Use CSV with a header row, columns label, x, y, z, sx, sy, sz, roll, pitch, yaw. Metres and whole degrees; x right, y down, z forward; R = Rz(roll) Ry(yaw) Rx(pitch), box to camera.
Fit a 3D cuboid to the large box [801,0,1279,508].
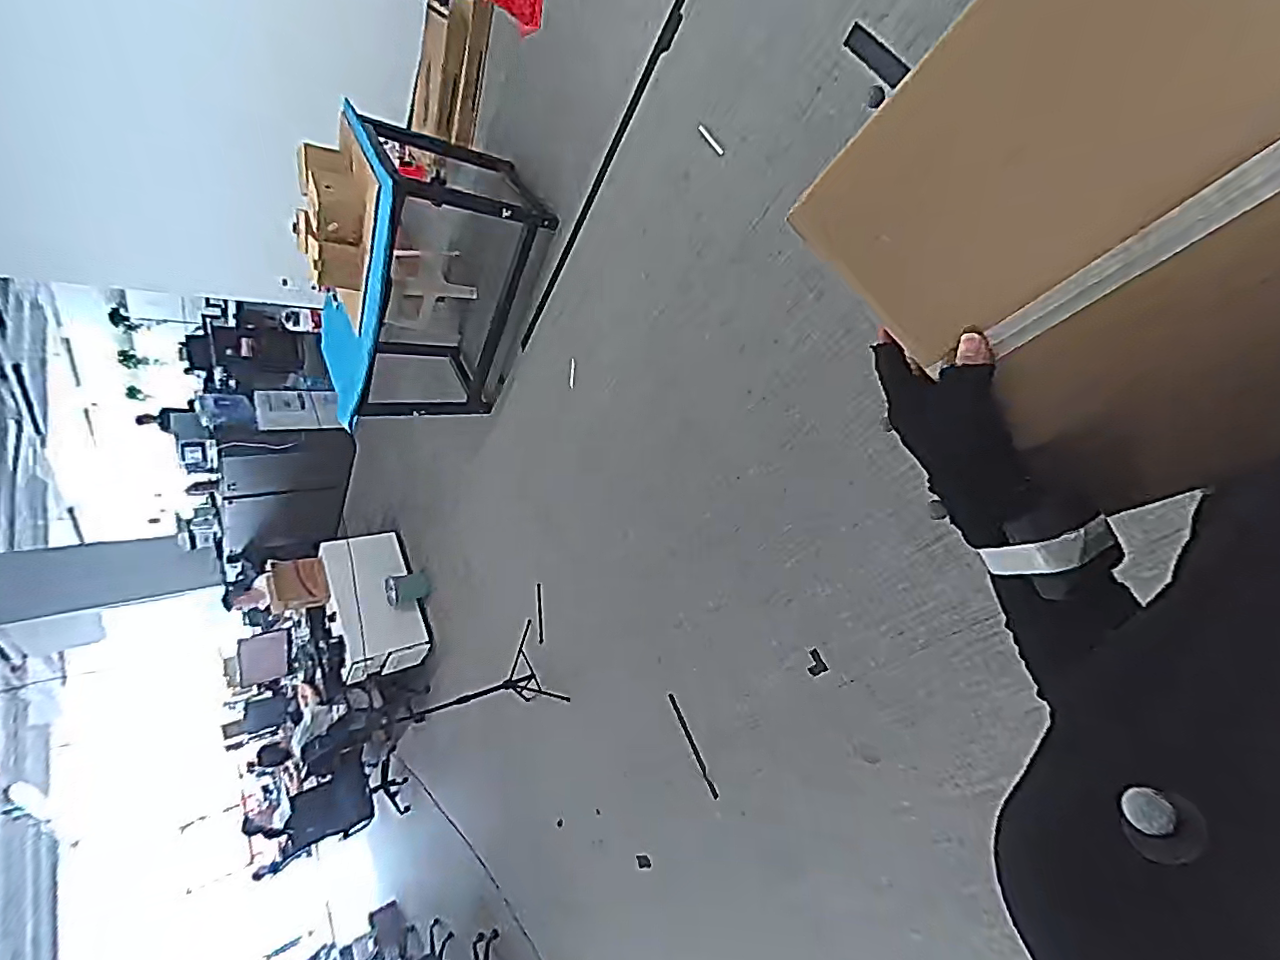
label,x,y,z,sx,sy,sz,roll,pitch,yaw
large box,0.388,-0.251,0.342,0.320,0.320,0.408,43,141,-5
